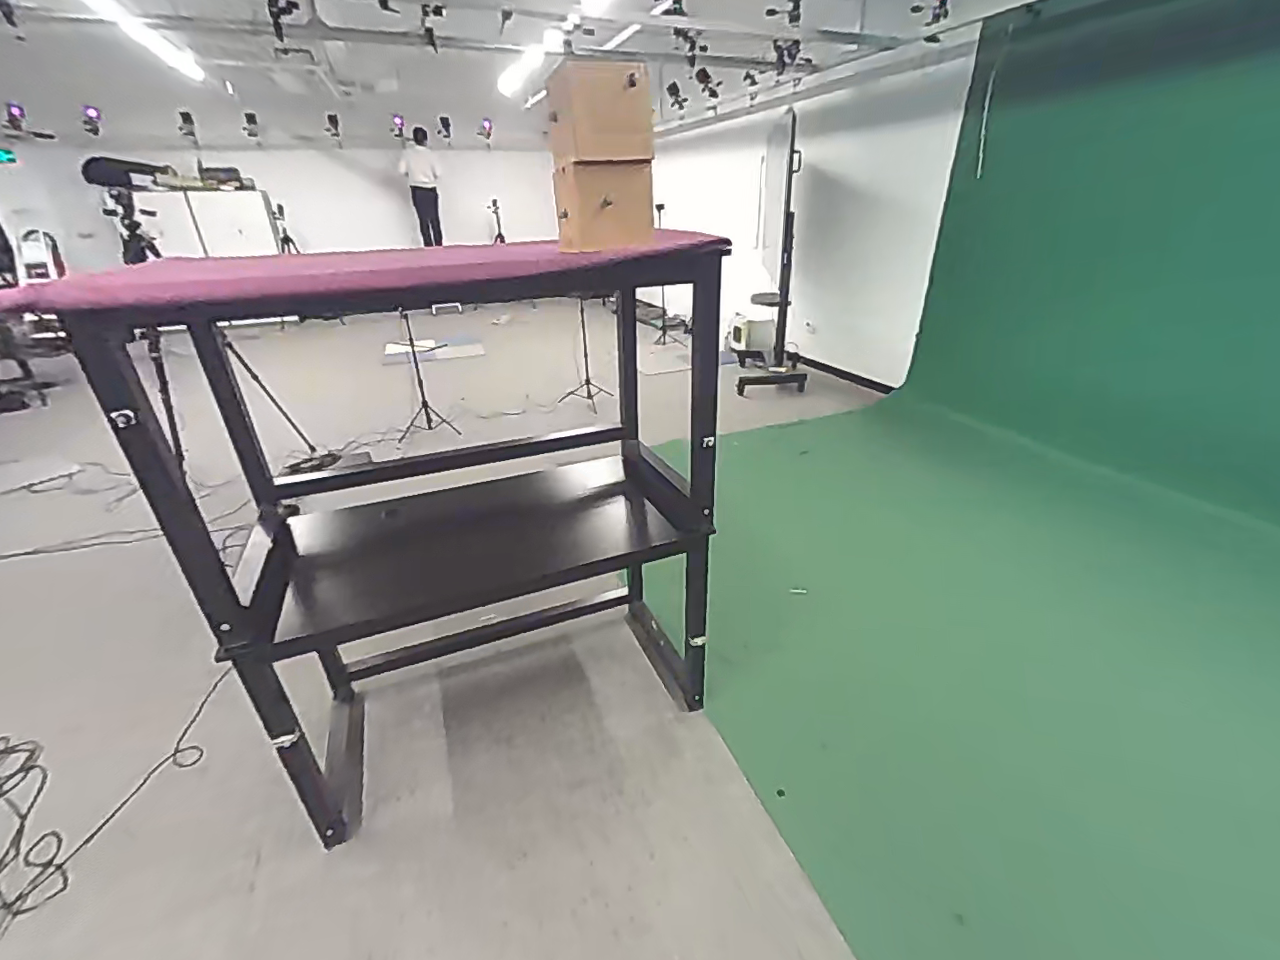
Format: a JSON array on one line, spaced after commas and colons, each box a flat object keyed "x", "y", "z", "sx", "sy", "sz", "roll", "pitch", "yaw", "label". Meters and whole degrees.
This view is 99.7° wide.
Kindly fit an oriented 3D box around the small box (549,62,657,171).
[{"x": -0.075, "y": -0.733, "z": 1.113, "sx": 0.179, "sy": 0.176, "sz": 0.168, "roll": -12, "pitch": 26, "yaw": -18, "label": "small box"}]

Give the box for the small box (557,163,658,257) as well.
[{"x": -0.071, "y": -0.590, "z": 1.193, "sx": 0.179, "sy": 0.176, "sz": 0.168, "roll": -13, "pitch": 27, "yaw": -18, "label": "small box"}]
